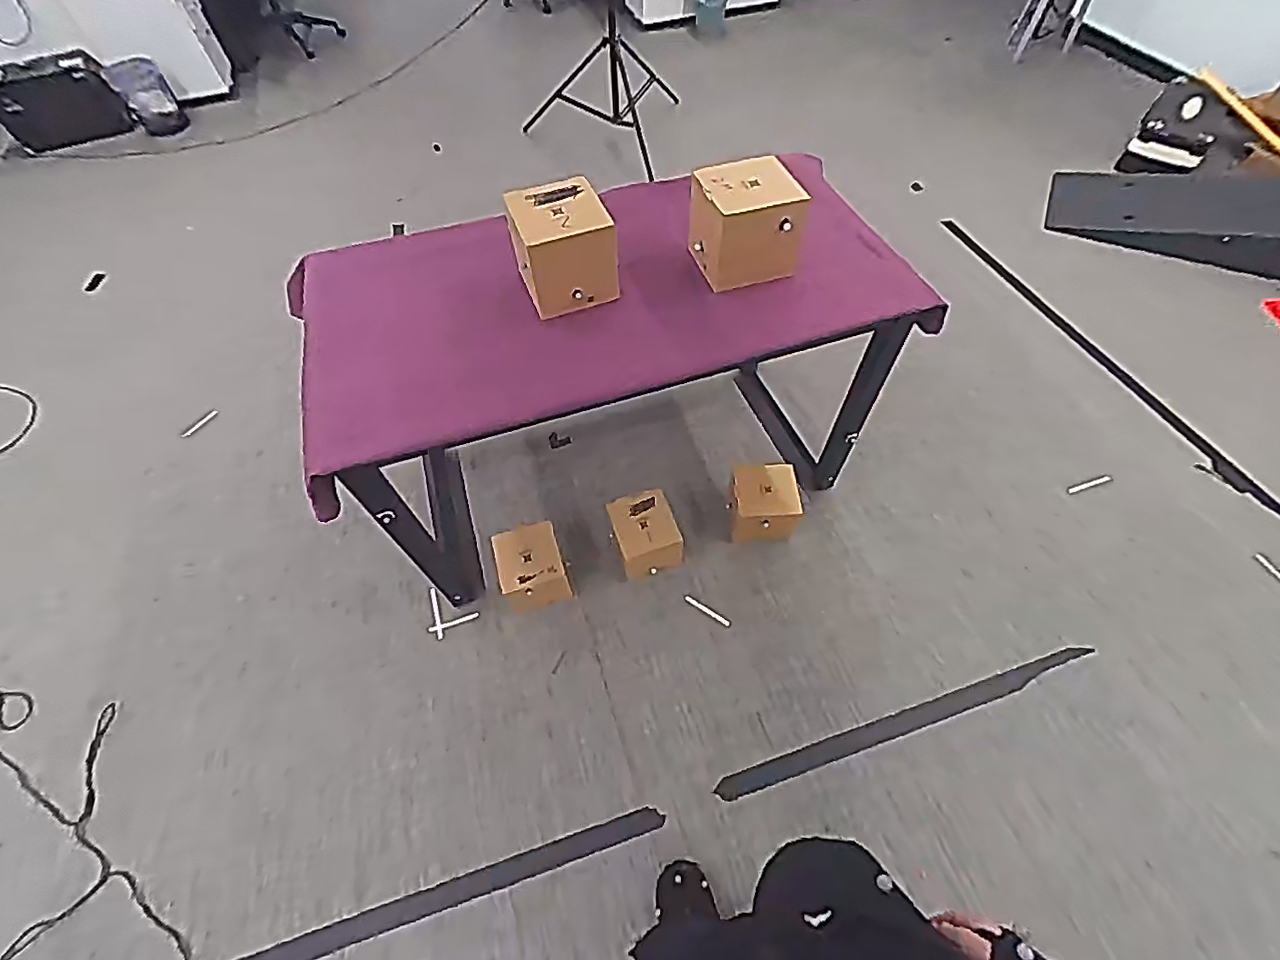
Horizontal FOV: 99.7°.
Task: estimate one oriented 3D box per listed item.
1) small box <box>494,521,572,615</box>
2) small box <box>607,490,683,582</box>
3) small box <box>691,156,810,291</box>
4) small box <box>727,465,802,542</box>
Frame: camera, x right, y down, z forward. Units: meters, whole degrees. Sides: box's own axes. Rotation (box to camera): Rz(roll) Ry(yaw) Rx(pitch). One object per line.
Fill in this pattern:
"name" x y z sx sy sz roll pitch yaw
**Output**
"small box" -0.290 0.244 1.483 0.168 0.176 0.179 -15 57 -8
"small box" 0.012 0.160 1.526 0.168 0.176 0.179 -17 59 -9
"small box" 0.210 -0.509 1.082 0.179 0.176 0.168 -15 57 -7
"small box" 0.355 0.072 1.574 0.179 0.176 0.168 -3 58 2
